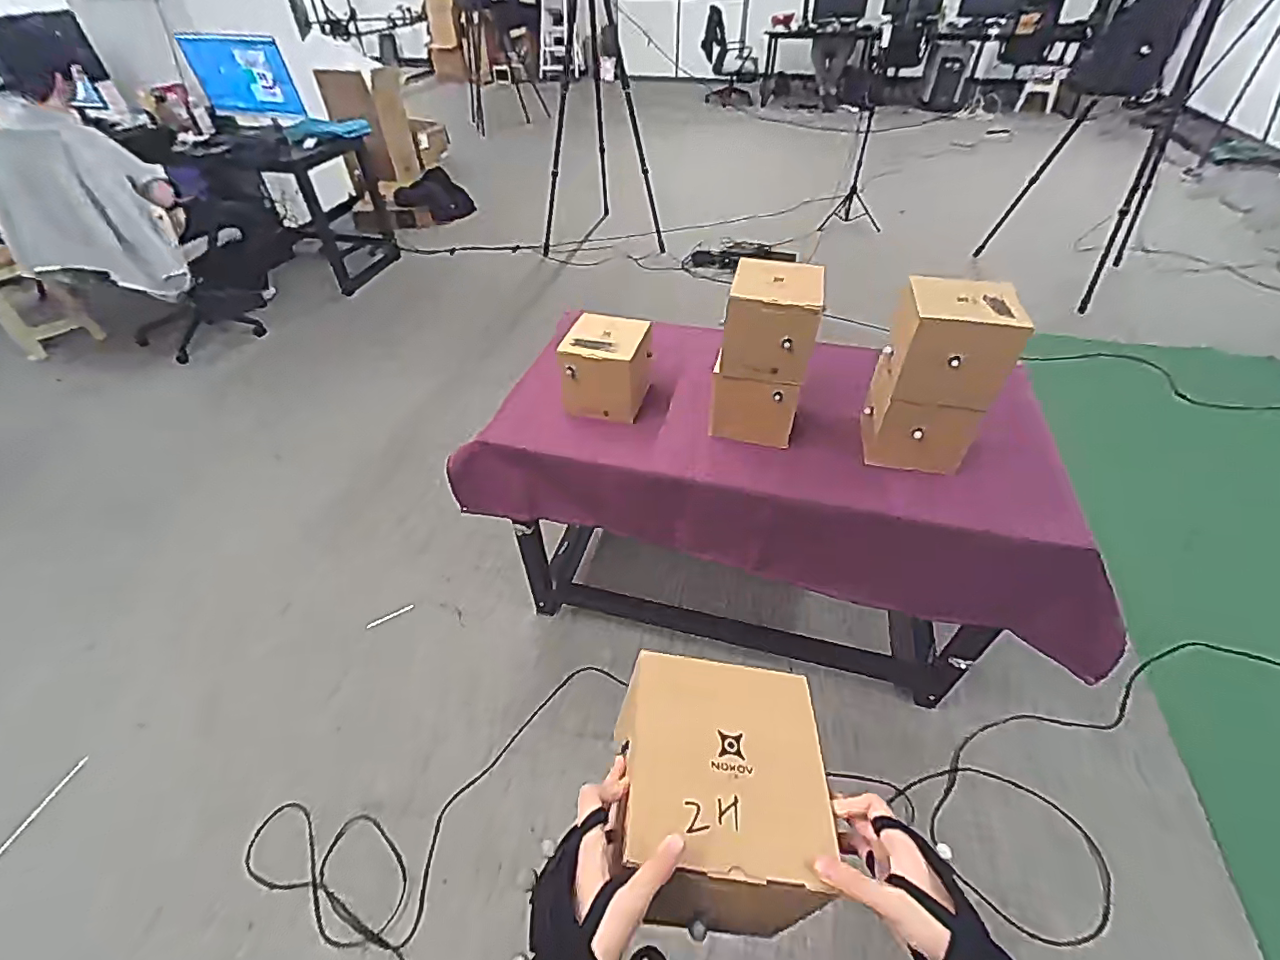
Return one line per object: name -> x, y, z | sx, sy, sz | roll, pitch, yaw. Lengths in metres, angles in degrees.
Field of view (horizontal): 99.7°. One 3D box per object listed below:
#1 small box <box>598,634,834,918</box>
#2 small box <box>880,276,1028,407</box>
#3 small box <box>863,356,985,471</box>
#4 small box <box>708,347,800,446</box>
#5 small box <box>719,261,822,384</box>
small box -> 0.057, 0.277, 0.511 | 0.168, 0.176, 0.179 | 10, 40, -3
small box -> 0.558, -0.251, 0.988 | 0.179, 0.176, 0.168 | 8, 44, 11
small box -> 0.563, -0.135, 1.105 | 0.179, 0.176, 0.168 | 8, 45, 10
small box -> 0.250, -0.193, 1.178 | 0.179, 0.176, 0.168 | 11, 45, 12
small box -> 0.254, -0.309, 1.064 | 0.168, 0.176, 0.179 | 11, 44, 10
